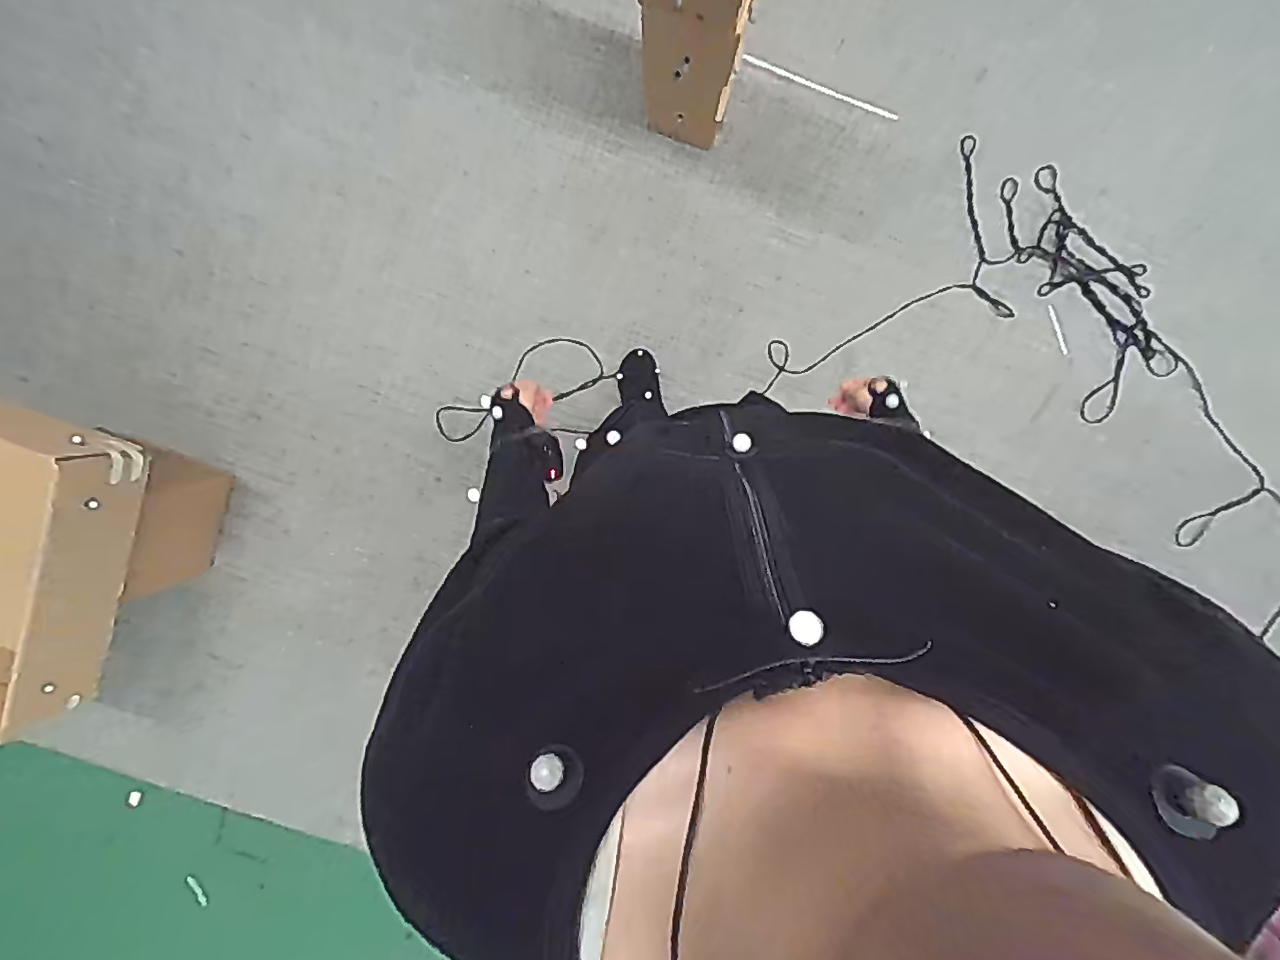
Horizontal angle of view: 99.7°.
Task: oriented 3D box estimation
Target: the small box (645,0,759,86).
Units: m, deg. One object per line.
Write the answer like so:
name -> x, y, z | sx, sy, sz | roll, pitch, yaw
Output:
small box -> 0.115, -0.835, 0.945 | 0.179, 0.176, 0.168 | 18, 100, -2

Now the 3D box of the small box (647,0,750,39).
small box -> 0.104, -0.806, 0.785 | 0.168, 0.176, 0.179 | 17, 102, -1

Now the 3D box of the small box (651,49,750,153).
small box -> 0.133, -0.902, 1.264 | 0.179, 0.176, 0.168 | 19, 100, -3

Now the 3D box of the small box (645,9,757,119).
small box -> 0.120, -0.878, 1.102 | 0.179, 0.176, 0.168 | 20, 101, -2
